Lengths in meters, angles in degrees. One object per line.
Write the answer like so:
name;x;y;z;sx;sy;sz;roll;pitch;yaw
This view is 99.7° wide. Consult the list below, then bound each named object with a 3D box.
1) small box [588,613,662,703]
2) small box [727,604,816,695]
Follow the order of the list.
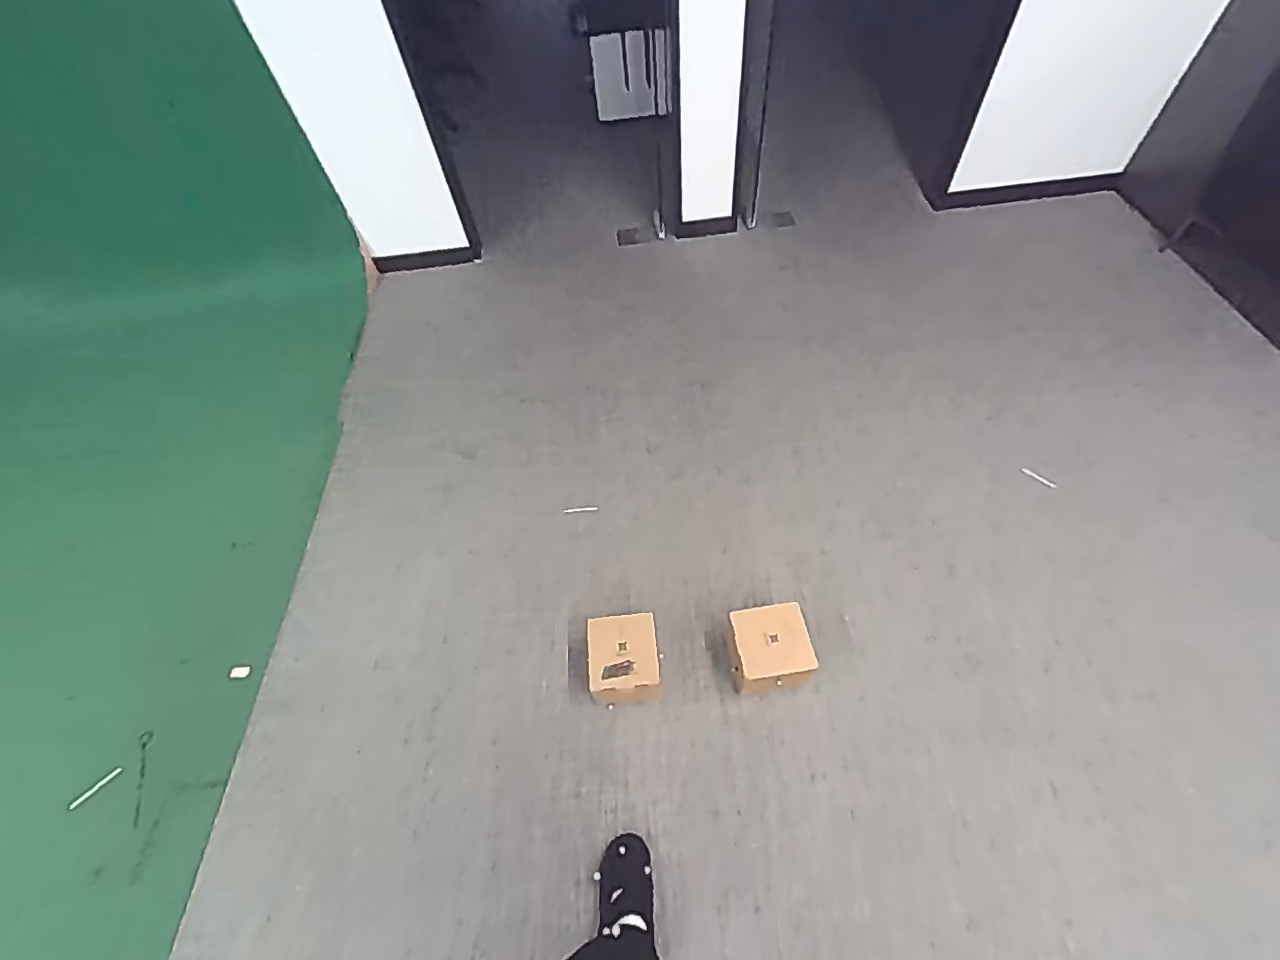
small box;-0.036;0.453;1.361;0.168;0.176;0.179;-6;55;1
small box;0.317;0.426;1.348;0.179;0.176;0.168;-8;56;-1
